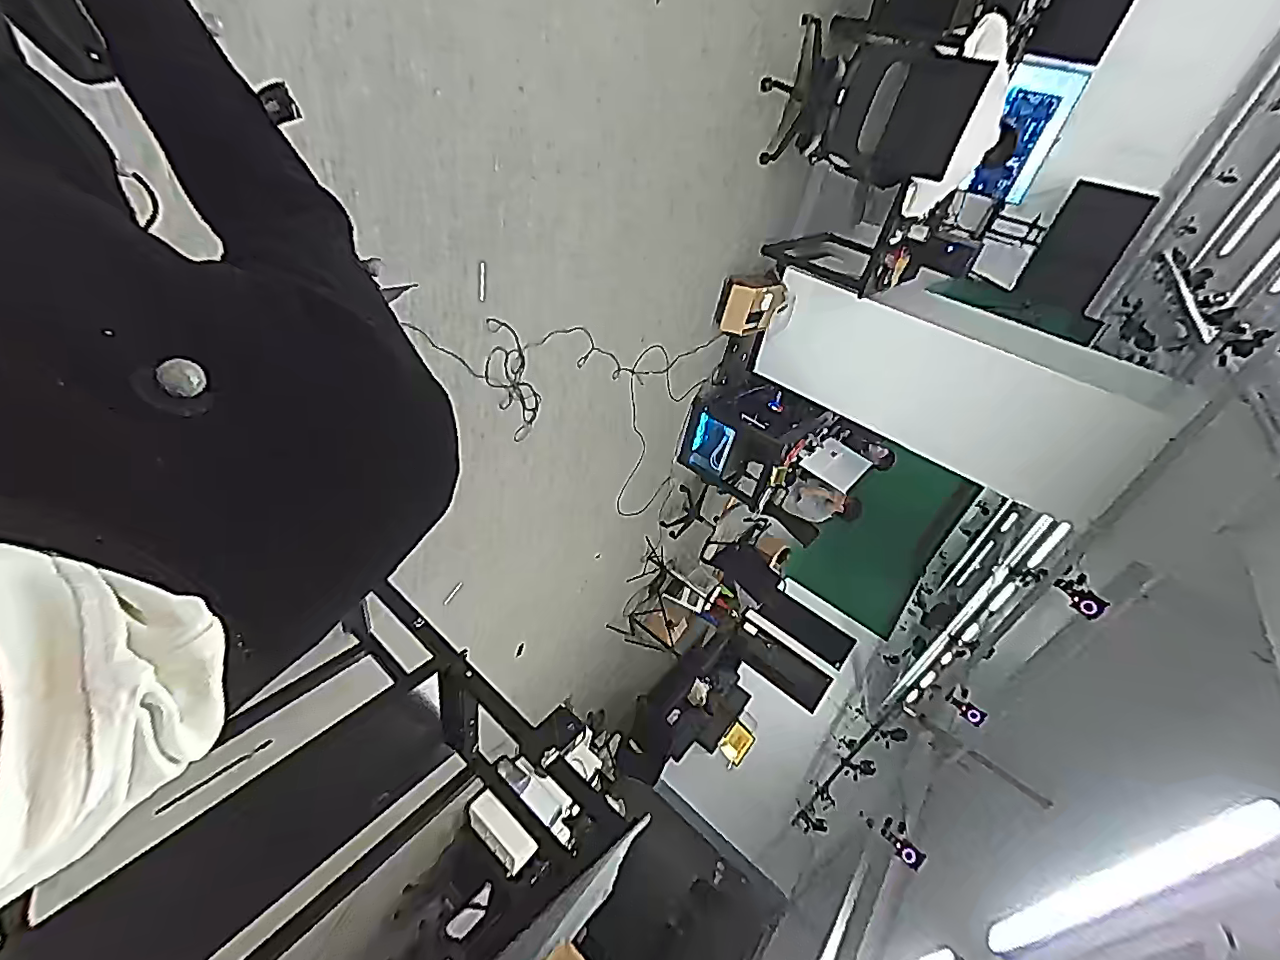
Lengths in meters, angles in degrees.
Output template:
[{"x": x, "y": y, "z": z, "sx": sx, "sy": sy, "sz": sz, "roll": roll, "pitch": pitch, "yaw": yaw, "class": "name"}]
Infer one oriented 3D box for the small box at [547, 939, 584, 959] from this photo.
[{"x": -0.208, "y": 1.392, "z": 1.451, "sx": 0.168, "sy": 0.176, "sz": 0.179, "roll": -33, "pitch": 145, "yaw": -42, "class": "small box"}]
